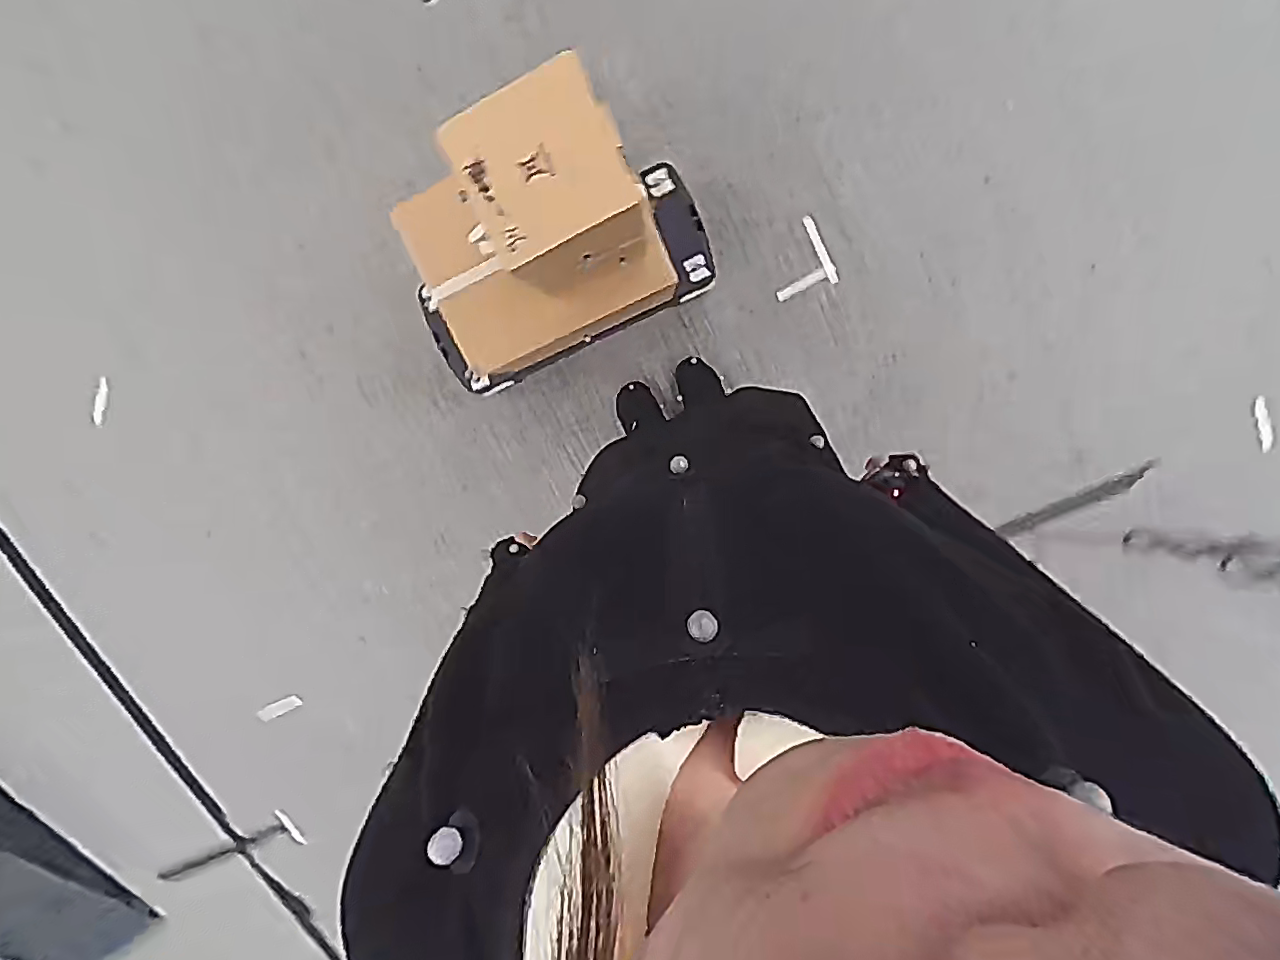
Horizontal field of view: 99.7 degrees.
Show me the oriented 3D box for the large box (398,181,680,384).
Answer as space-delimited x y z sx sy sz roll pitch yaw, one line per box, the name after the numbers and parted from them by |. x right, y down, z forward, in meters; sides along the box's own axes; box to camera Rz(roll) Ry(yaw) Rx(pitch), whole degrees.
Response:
-0.166 -0.424 1.063 0.408 0.320 0.320 -25 100 8 | large box

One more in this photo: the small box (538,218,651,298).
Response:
-0.095 -0.393 0.818 0.179 0.176 0.168 -24 101 7 | small box

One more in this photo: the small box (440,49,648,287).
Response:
-0.102 -0.357 0.658 0.179 0.176 0.168 -25 100 6 | small box

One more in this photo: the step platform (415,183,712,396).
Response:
-0.176 -0.441 1.304 0.684 0.204 0.286 -20 102 6 | step platform
